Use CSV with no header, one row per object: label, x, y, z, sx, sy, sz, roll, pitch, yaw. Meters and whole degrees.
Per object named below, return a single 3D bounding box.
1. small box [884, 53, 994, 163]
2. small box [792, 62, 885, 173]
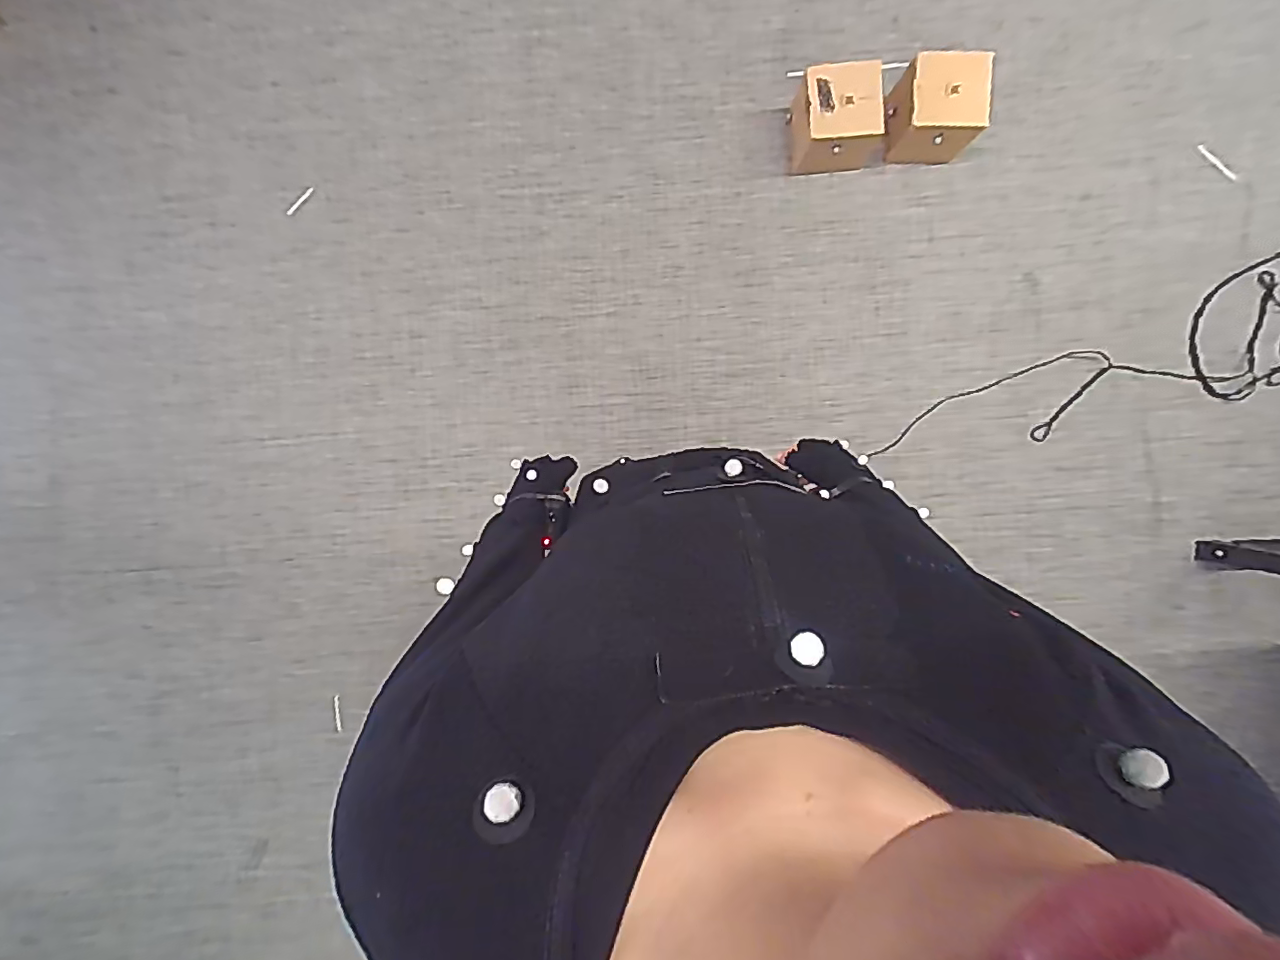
small box,0.723,-0.900,1.322,0.179,0.176,0.168,1,94,3
small box,0.478,-0.880,1.329,0.179,0.176,0.168,-4,94,1
